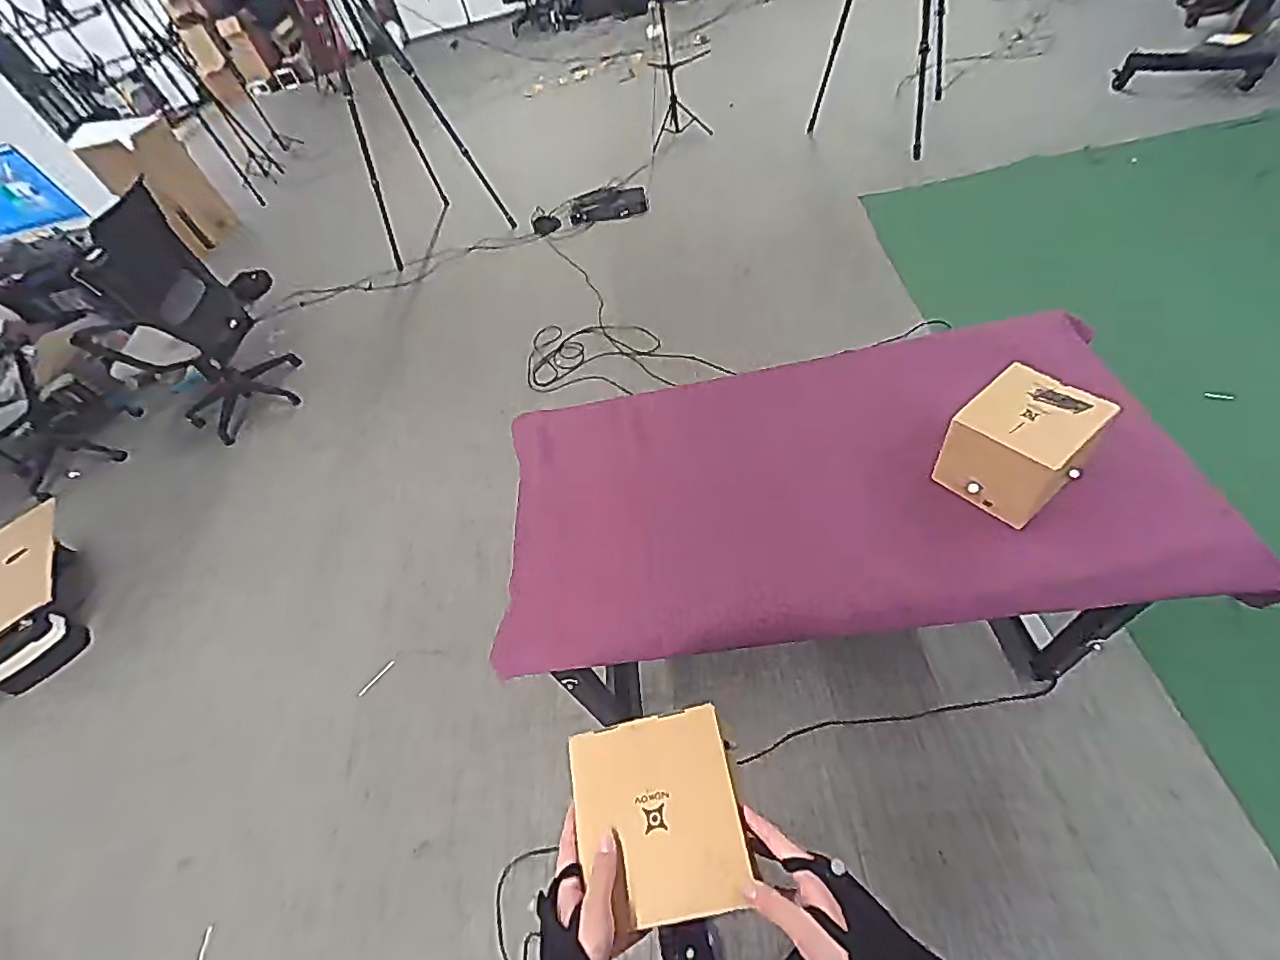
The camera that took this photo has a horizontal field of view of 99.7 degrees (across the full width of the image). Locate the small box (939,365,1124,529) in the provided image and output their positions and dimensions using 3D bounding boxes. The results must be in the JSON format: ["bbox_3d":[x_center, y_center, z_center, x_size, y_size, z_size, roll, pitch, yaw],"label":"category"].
[{"bbox_3d":[0.640,-0.053,0.911,0.179,0.176,0.168,-37,53,-14],"label":"small box"}]

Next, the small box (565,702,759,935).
[{"bbox_3d":[0.028,0.364,0.597,0.168,0.176,0.179,-15,56,5],"label":"small box"}]
